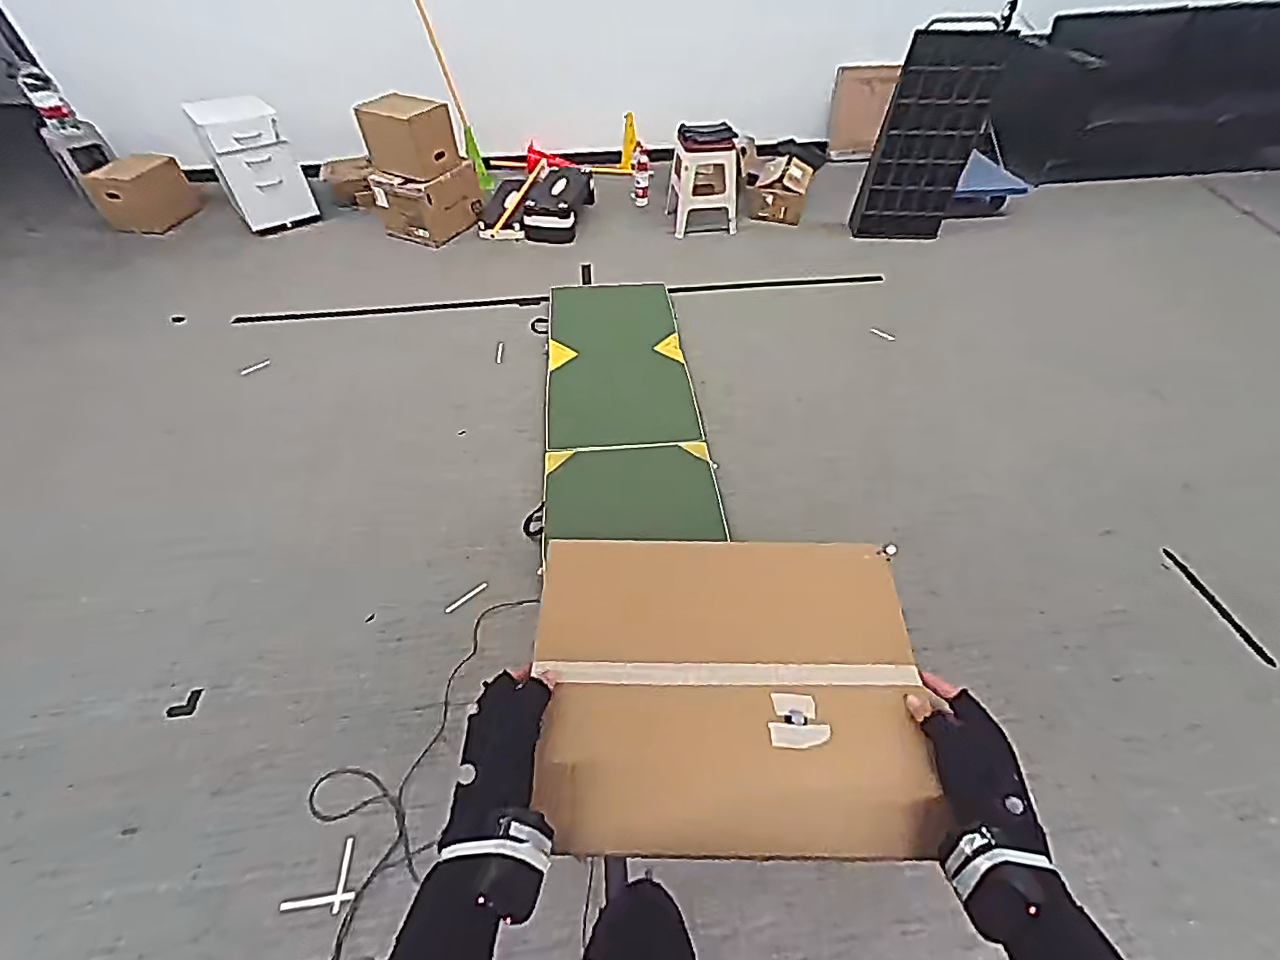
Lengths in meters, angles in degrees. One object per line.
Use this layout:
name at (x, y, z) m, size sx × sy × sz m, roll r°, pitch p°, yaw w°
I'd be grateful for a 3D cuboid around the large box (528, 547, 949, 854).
large box at (0.088, 0.295, 0.706) m, size 0.408 × 0.320 × 0.320 m, roll 0°, pitch 56°, yaw 0°
